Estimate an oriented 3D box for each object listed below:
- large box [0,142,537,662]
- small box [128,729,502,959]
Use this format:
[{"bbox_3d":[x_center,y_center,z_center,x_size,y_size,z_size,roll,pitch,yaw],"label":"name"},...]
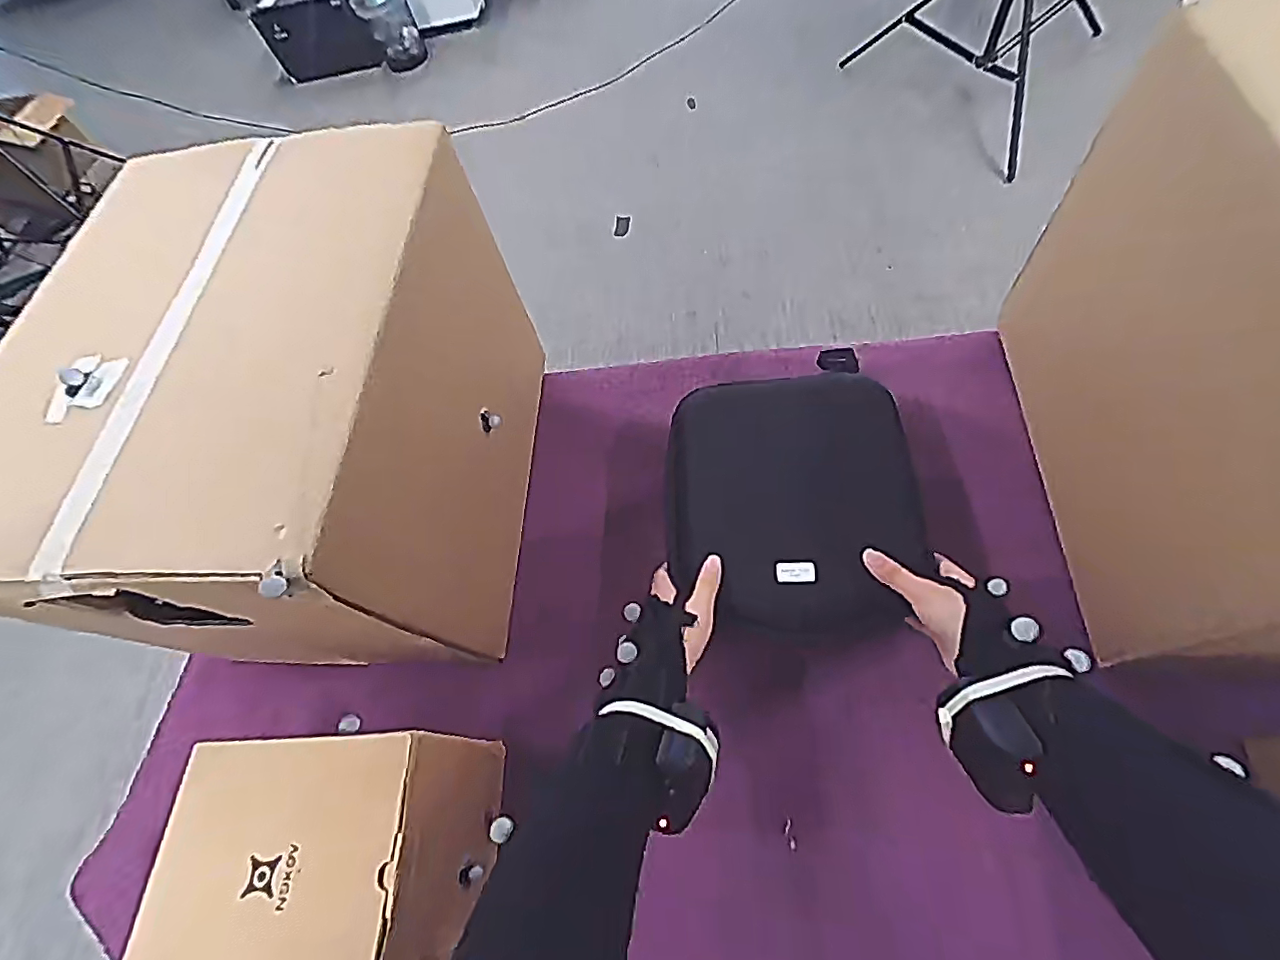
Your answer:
[{"bbox_3d":[-0.302,-0.047,0.536,0.320,0.320,0.408,-3,64,8],"label":"large box"},{"bbox_3d":[-0.228,0.295,0.422,0.179,0.176,0.168,-6,60,6],"label":"small box"}]
